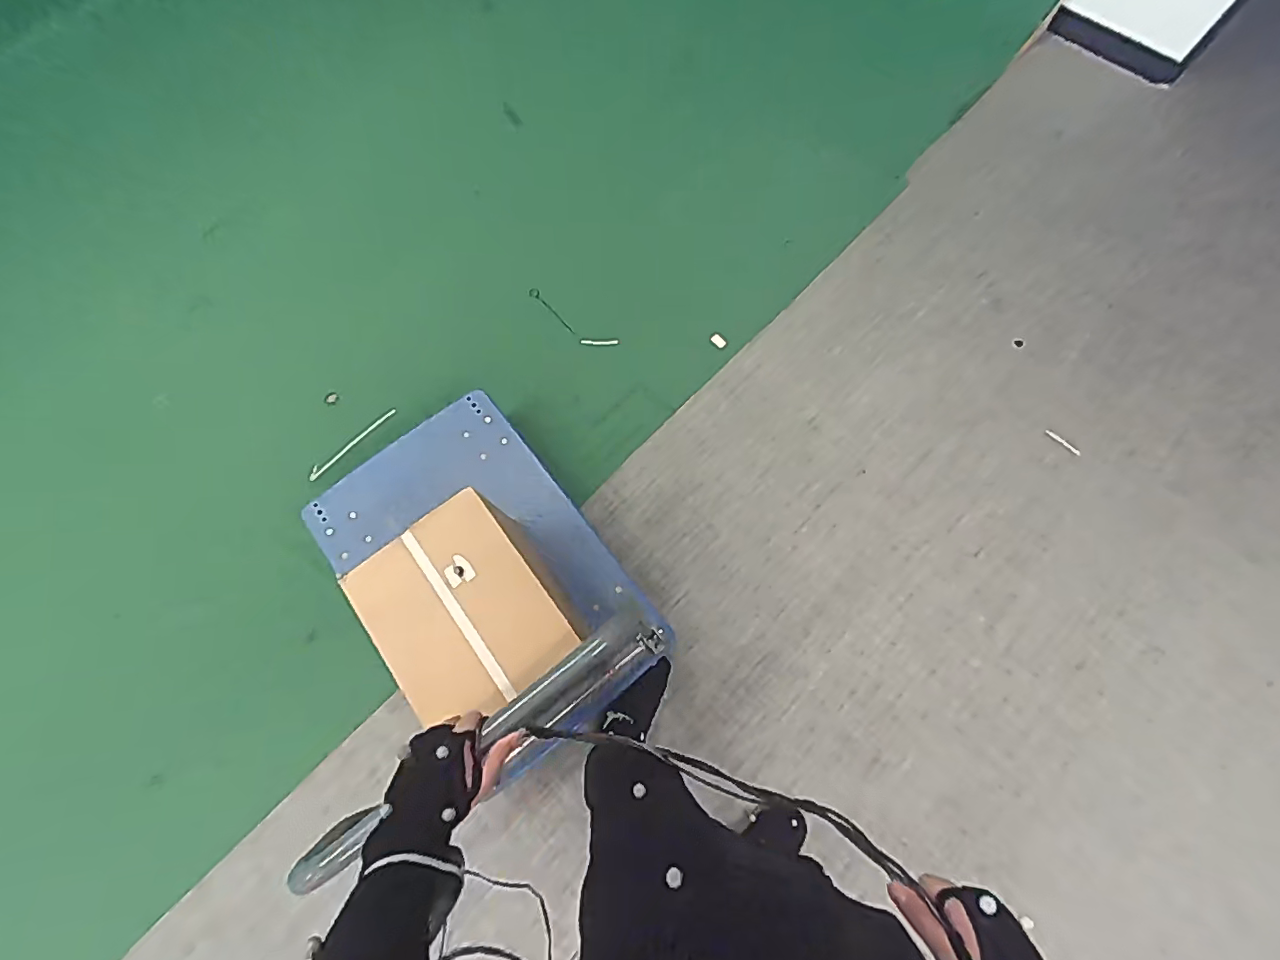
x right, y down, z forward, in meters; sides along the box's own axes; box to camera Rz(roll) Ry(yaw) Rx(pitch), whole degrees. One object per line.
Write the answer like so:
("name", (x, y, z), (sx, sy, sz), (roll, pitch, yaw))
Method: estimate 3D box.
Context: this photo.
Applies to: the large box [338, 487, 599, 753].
("large box", (-0.339, 0.291, 1.163), (0.320, 0.320, 0.408), (-37, 75, -9))
